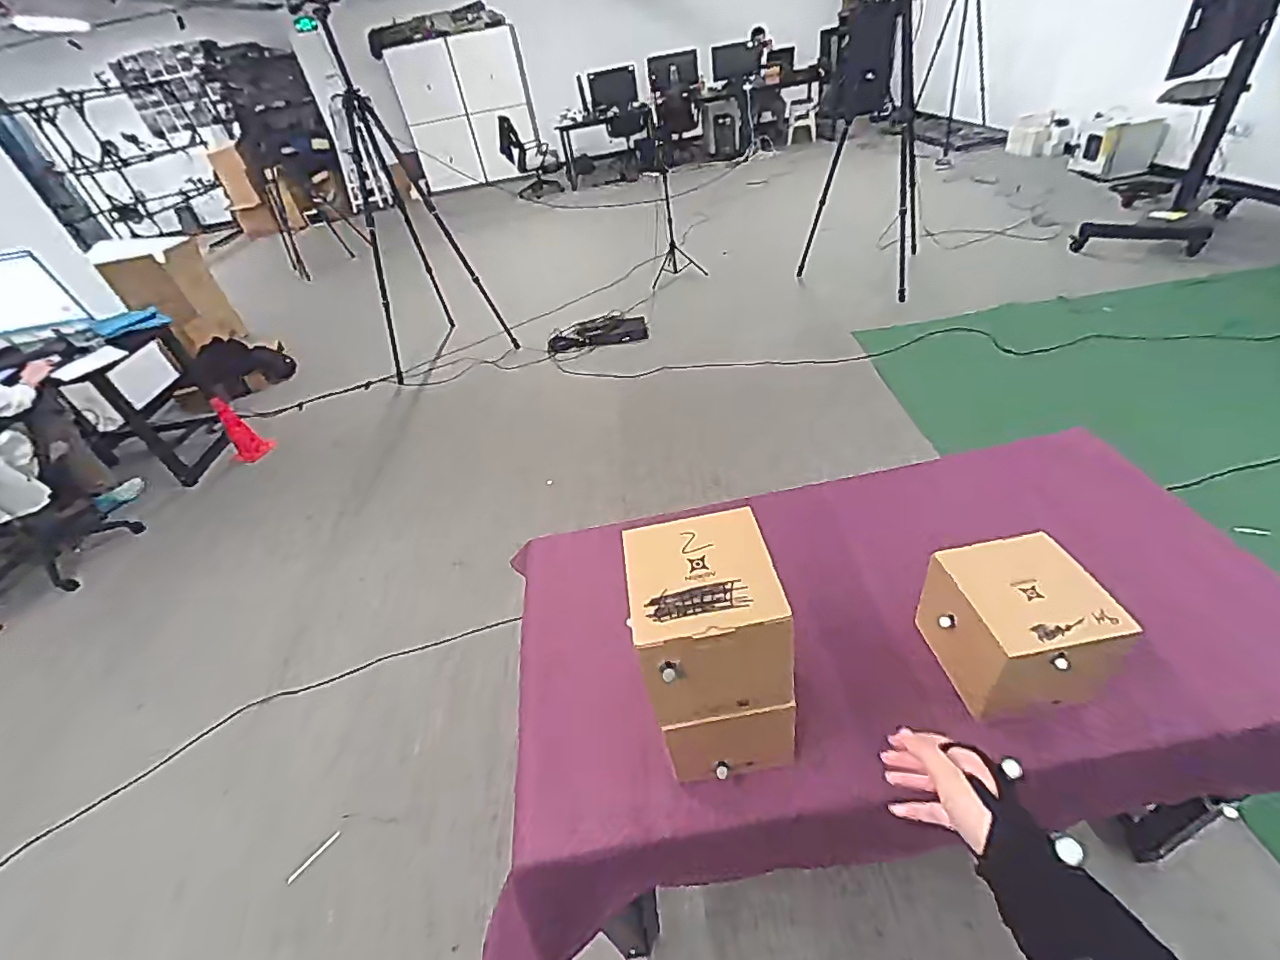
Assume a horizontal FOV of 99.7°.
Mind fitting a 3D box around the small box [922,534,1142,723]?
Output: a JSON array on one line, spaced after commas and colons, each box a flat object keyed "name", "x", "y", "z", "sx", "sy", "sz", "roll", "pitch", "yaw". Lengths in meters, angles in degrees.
[{"name": "small box", "x": 0.524, "y": 0.207, "z": 0.759, "sx": 0.168, "sy": 0.176, "sz": 0.179, "roll": -12, "pitch": 38, "yaw": 2}]

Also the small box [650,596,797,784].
[{"name": "small box", "x": 0.113, "y": 0.295, "z": 0.763, "sx": 0.168, "sy": 0.176, "sz": 0.179, "roll": -11, "pitch": 40, "yaw": 2}]
